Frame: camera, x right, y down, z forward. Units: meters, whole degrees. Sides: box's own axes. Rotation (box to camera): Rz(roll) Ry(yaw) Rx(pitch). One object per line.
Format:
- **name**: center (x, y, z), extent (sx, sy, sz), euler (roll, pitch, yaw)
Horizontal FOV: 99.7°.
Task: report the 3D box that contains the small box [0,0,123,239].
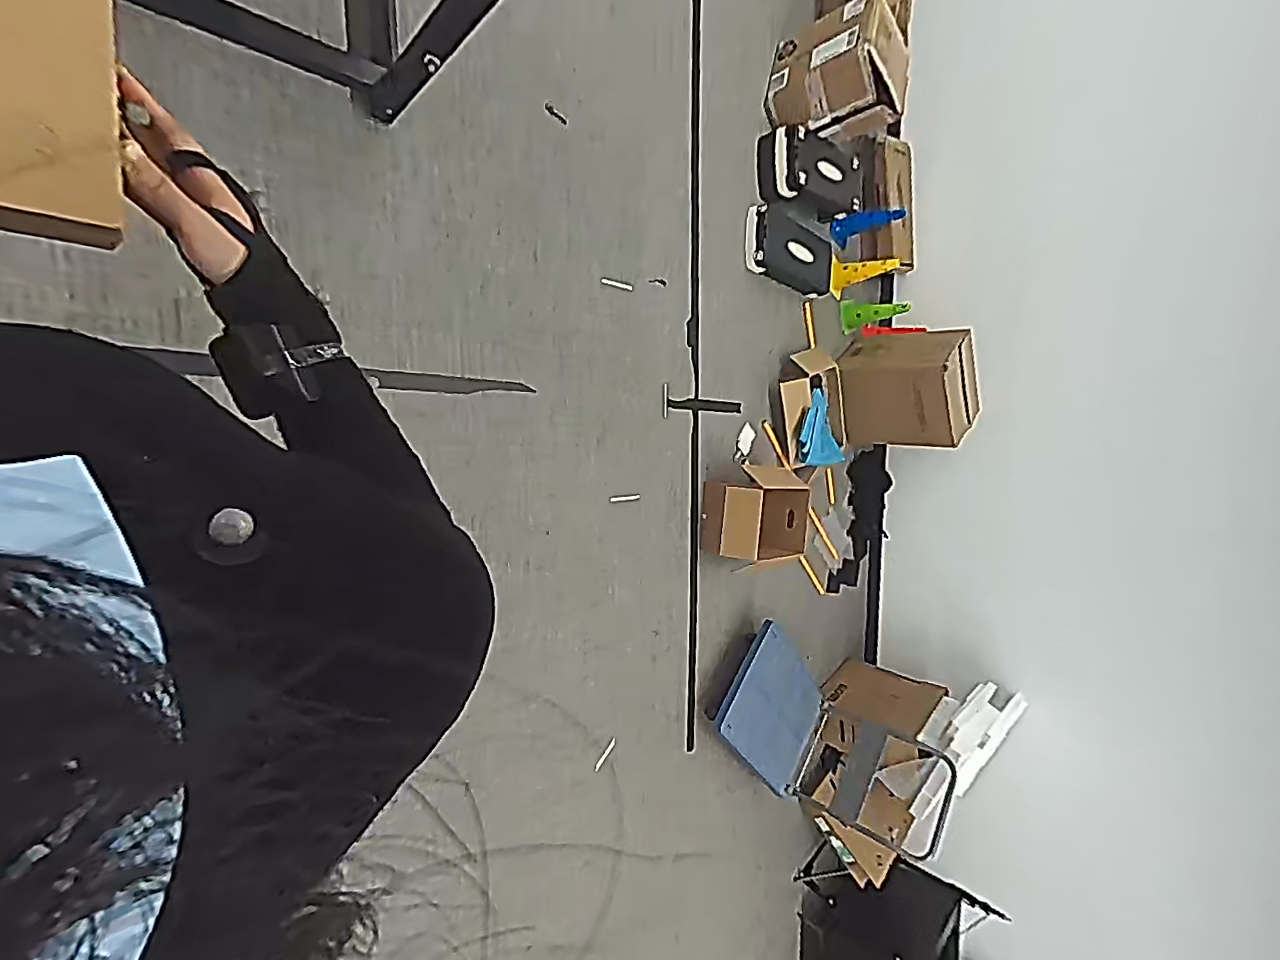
- **small box**: center (-0.409, -0.250, 0.305), extent (0.168, 0.176, 0.179), euler (-4, 105, -46)
